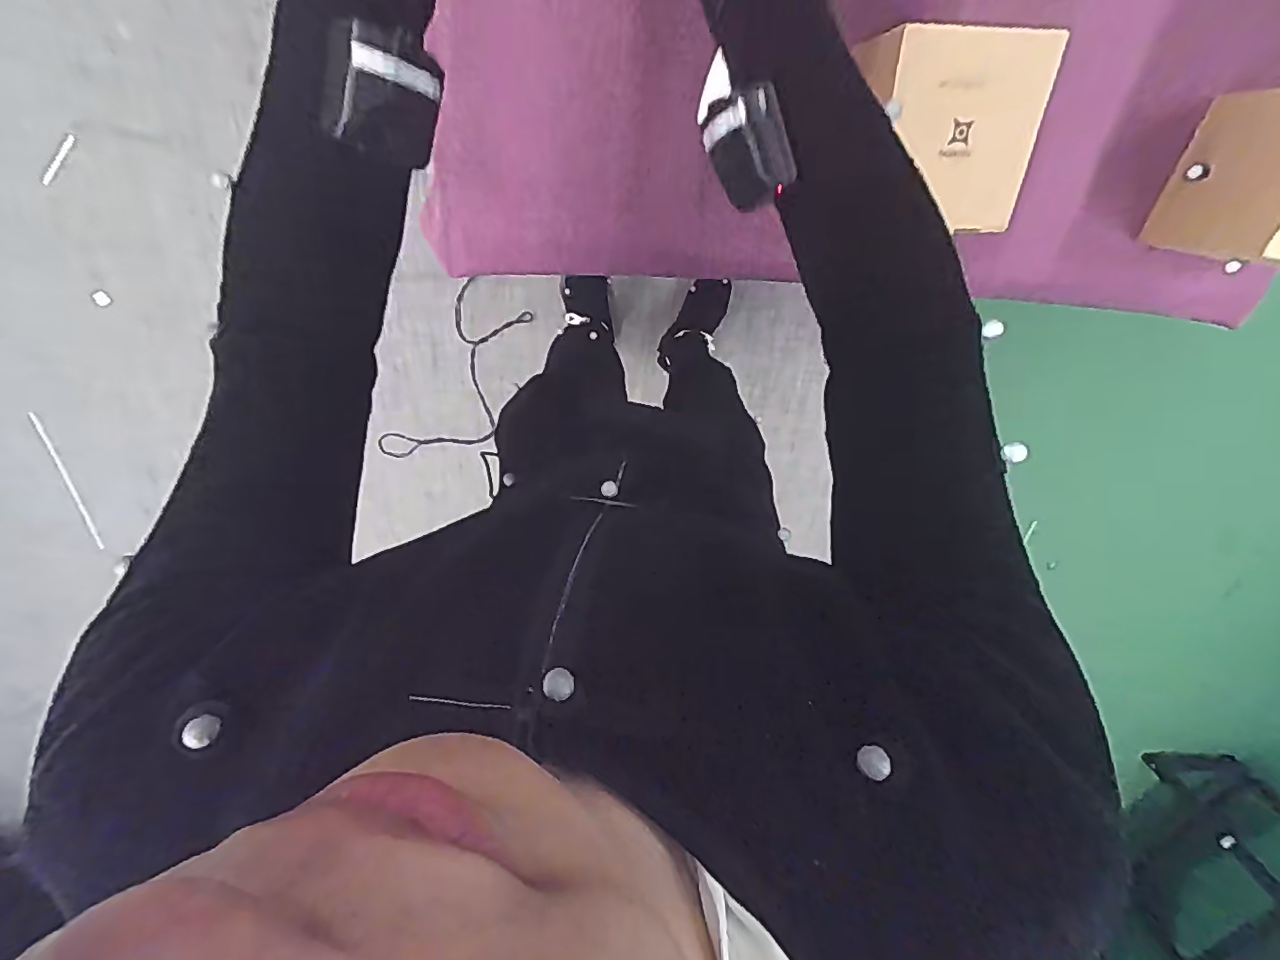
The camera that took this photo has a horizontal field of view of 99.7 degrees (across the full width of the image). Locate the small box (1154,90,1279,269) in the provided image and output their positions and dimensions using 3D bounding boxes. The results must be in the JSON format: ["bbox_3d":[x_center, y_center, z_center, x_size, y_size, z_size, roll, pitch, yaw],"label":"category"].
[{"bbox_3d":[0.799,-0.357,0.658,0.168,0.176,0.179,6,119,-8],"label":"small box"}]

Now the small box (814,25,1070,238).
[{"bbox_3d":[0.312,-0.377,0.606,0.168,0.176,0.179,-1,119,-5],"label":"small box"}]
